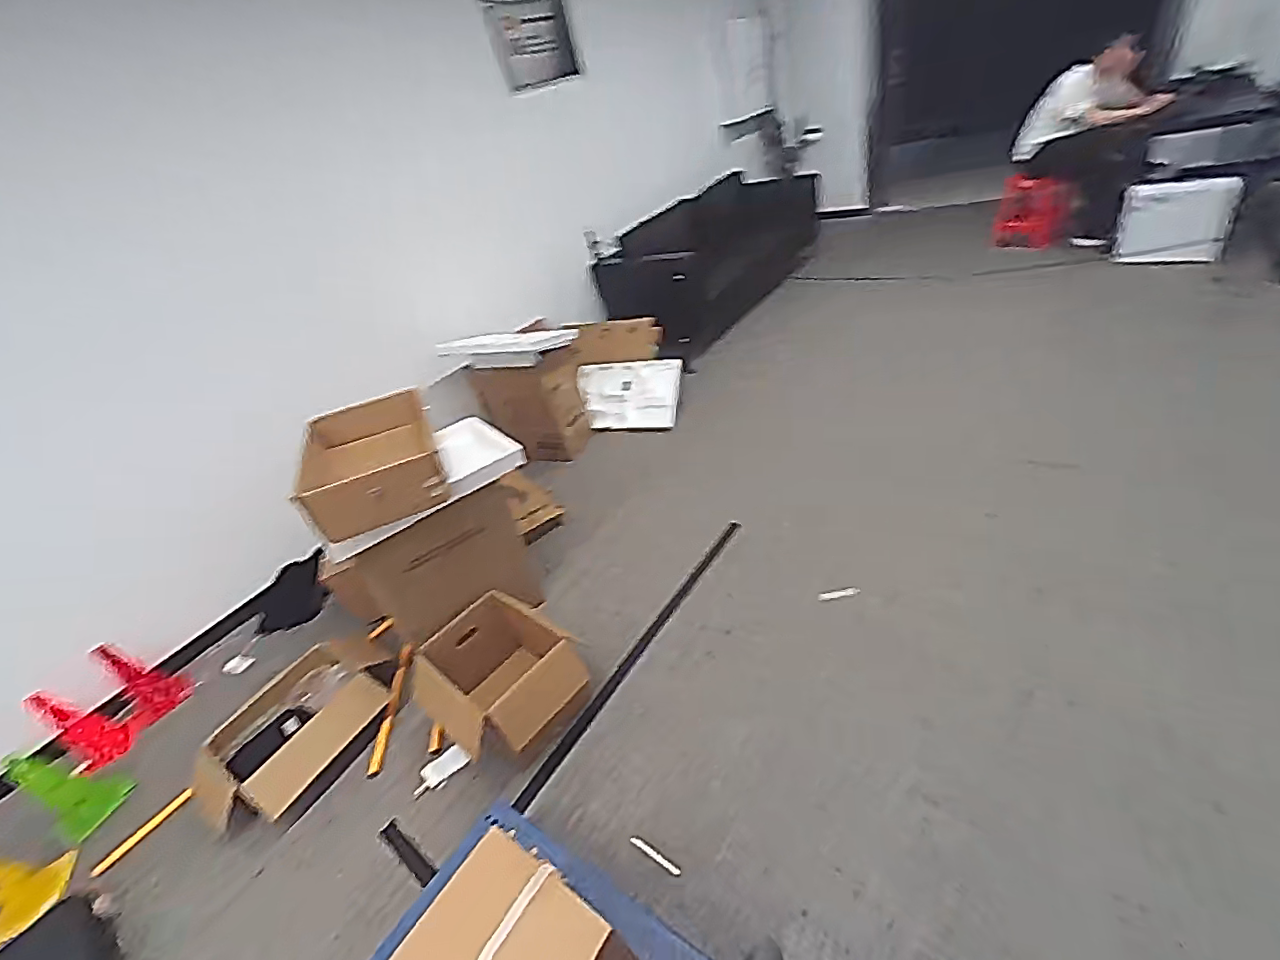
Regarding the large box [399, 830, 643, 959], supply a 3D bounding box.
[{"bbox_3d":[-0.237,0.948,0.950,0.320,0.320,0.408,11,43,37],"label":"large box"}]
